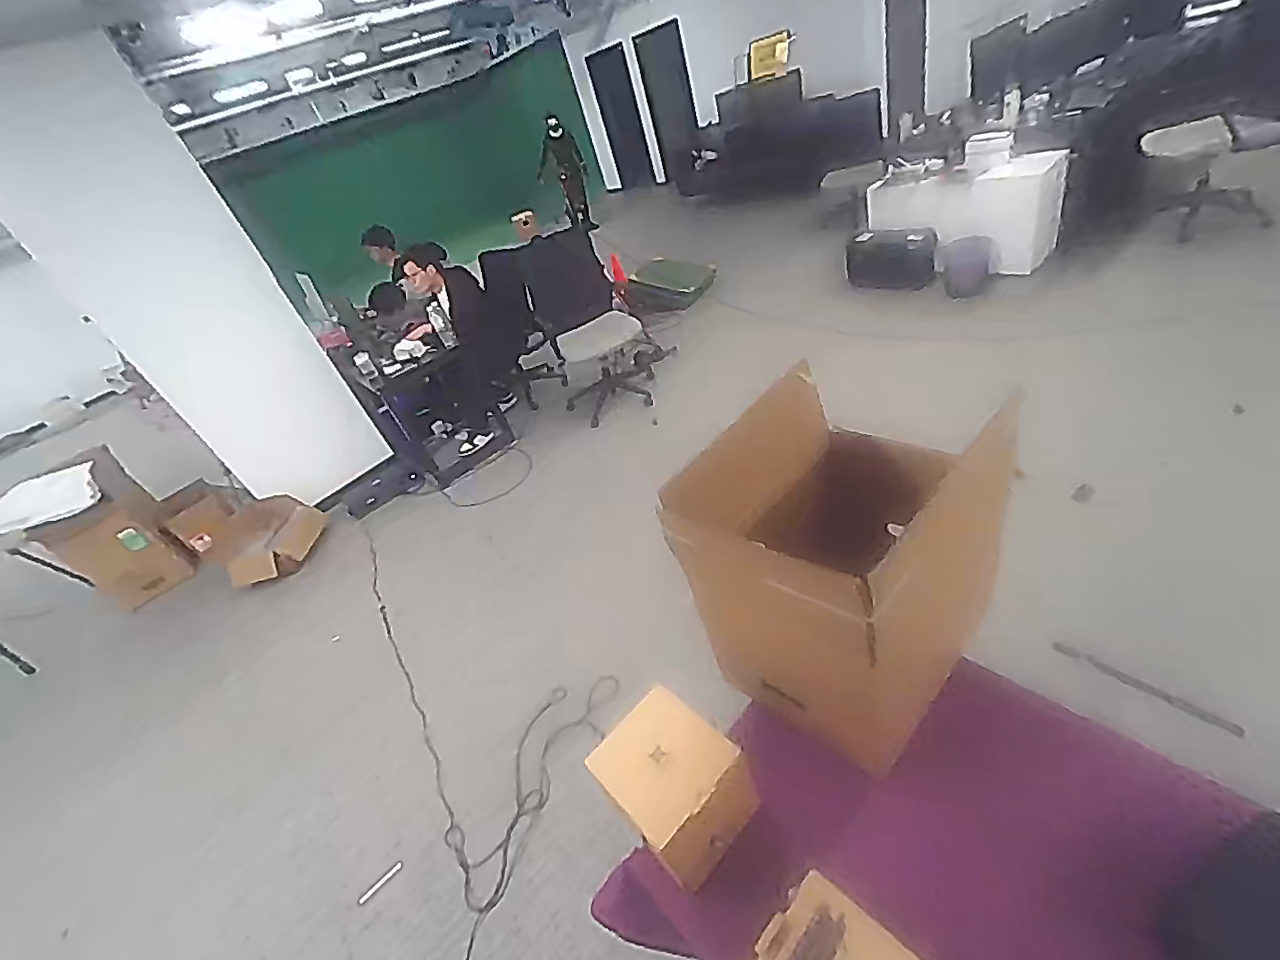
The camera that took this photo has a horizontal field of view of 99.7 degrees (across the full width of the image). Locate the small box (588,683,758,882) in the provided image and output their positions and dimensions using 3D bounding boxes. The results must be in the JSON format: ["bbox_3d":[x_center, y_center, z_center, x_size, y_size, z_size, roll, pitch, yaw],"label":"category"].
[{"bbox_3d":[0.055,0.457,0.822,0.168,0.176,0.179,-39,41,-24],"label":"small box"}]
